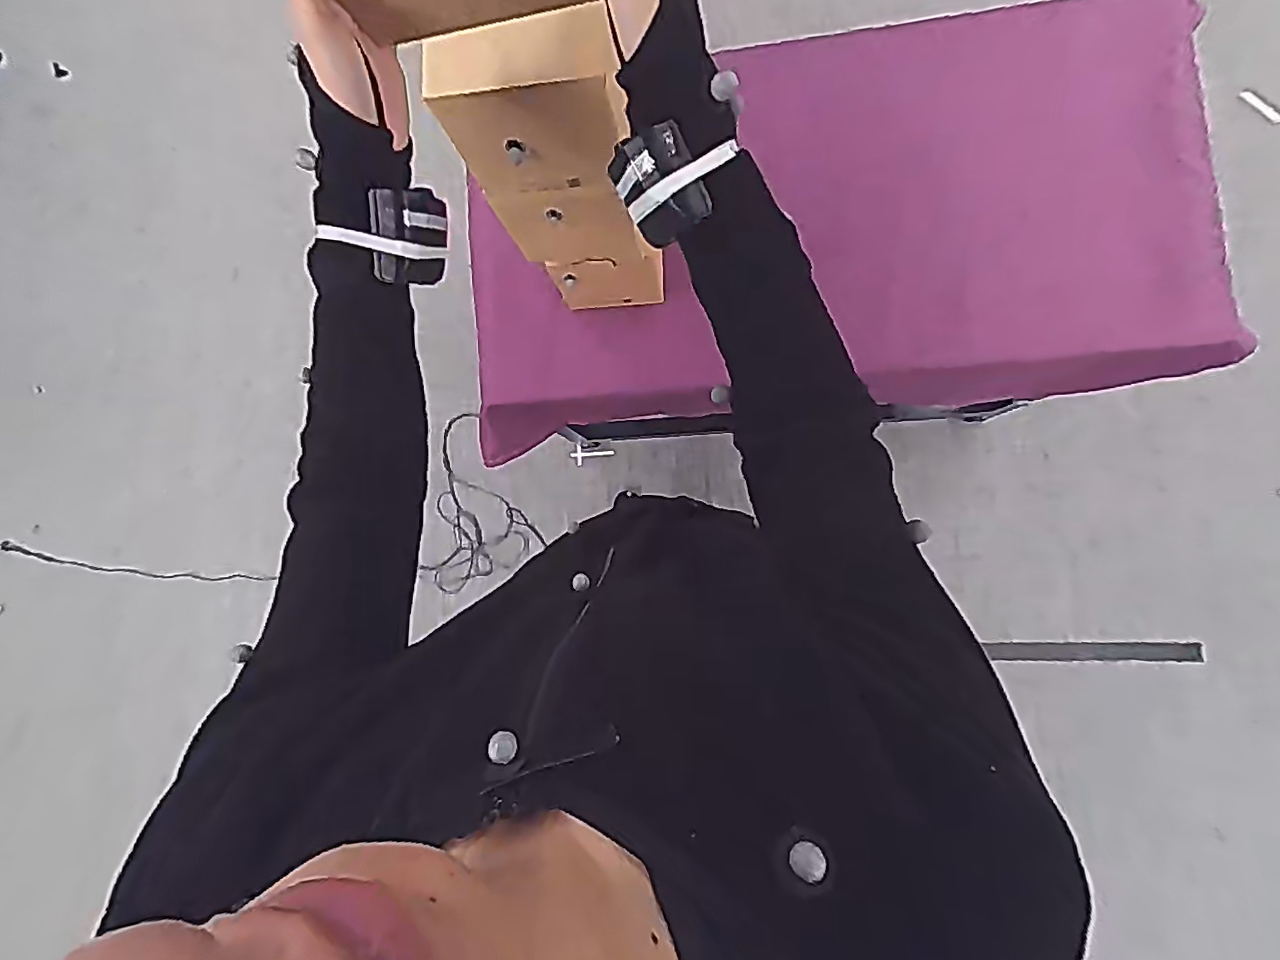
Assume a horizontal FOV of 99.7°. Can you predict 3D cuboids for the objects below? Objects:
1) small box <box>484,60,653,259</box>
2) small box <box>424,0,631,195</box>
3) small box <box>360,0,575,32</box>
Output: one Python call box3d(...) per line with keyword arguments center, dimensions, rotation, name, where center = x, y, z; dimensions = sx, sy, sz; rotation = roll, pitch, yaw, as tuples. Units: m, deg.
box3d(center=(-0.084, -0.410, 0.716), dimensions=(0.179, 0.176, 0.168), rotation=(4, 86, 7), name="small box")
box3d(center=(-0.102, -0.418, 0.555), dimensions=(0.168, 0.176, 0.179), rotation=(-2, 84, 7), name="small box")
box3d(center=(-0.113, -0.383, 0.281), dimensions=(0.179, 0.176, 0.168), rotation=(-7, 99, 6), name="small box")
